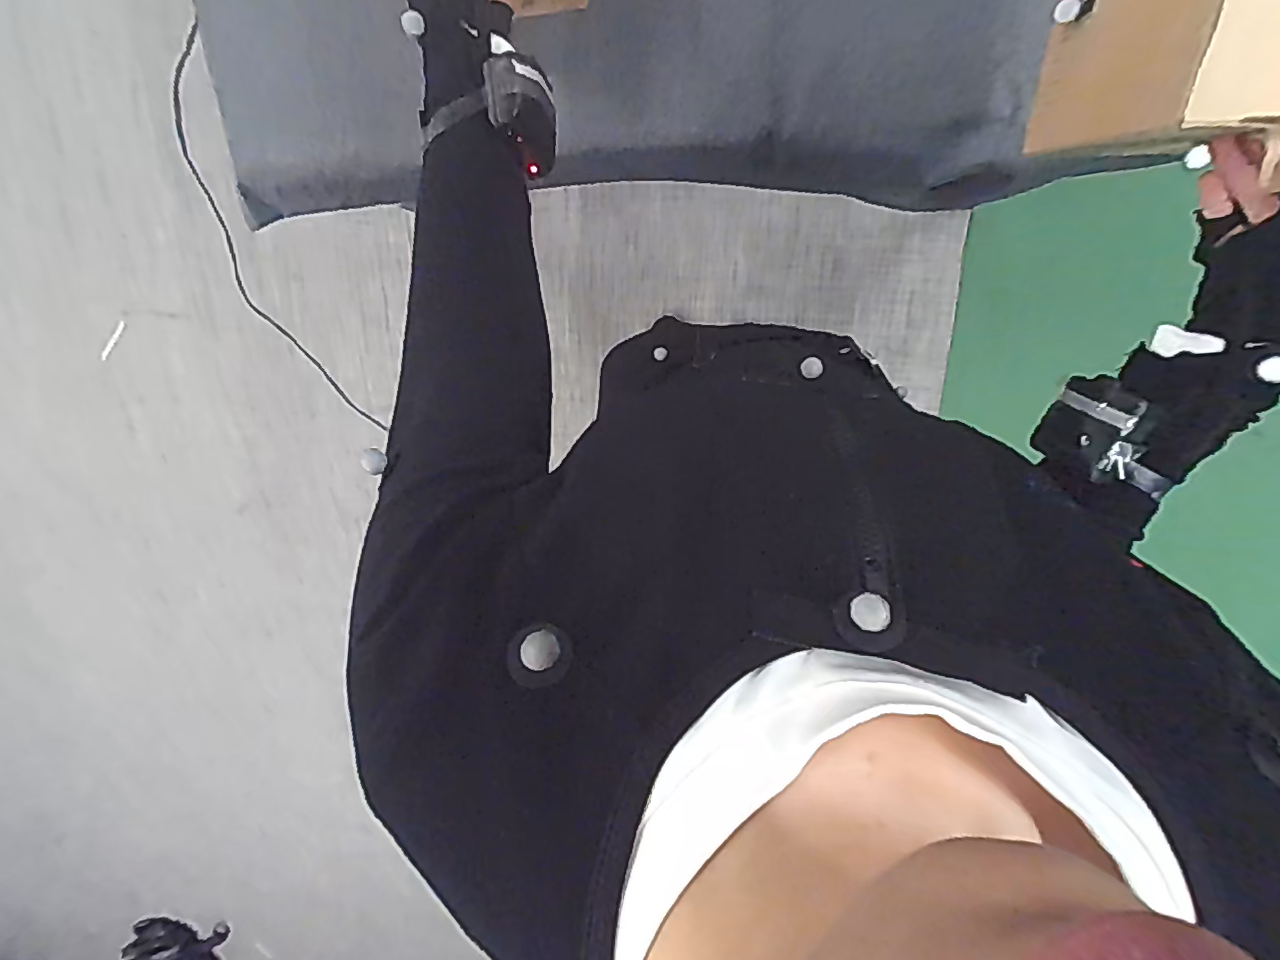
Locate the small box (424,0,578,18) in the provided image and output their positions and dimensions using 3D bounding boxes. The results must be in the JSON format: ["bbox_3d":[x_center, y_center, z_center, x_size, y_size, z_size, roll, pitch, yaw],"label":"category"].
[{"bbox_3d":[-0.151,-0.556,0.482,0.168,0.176,0.179,-5,105,4],"label":"small box"}]
